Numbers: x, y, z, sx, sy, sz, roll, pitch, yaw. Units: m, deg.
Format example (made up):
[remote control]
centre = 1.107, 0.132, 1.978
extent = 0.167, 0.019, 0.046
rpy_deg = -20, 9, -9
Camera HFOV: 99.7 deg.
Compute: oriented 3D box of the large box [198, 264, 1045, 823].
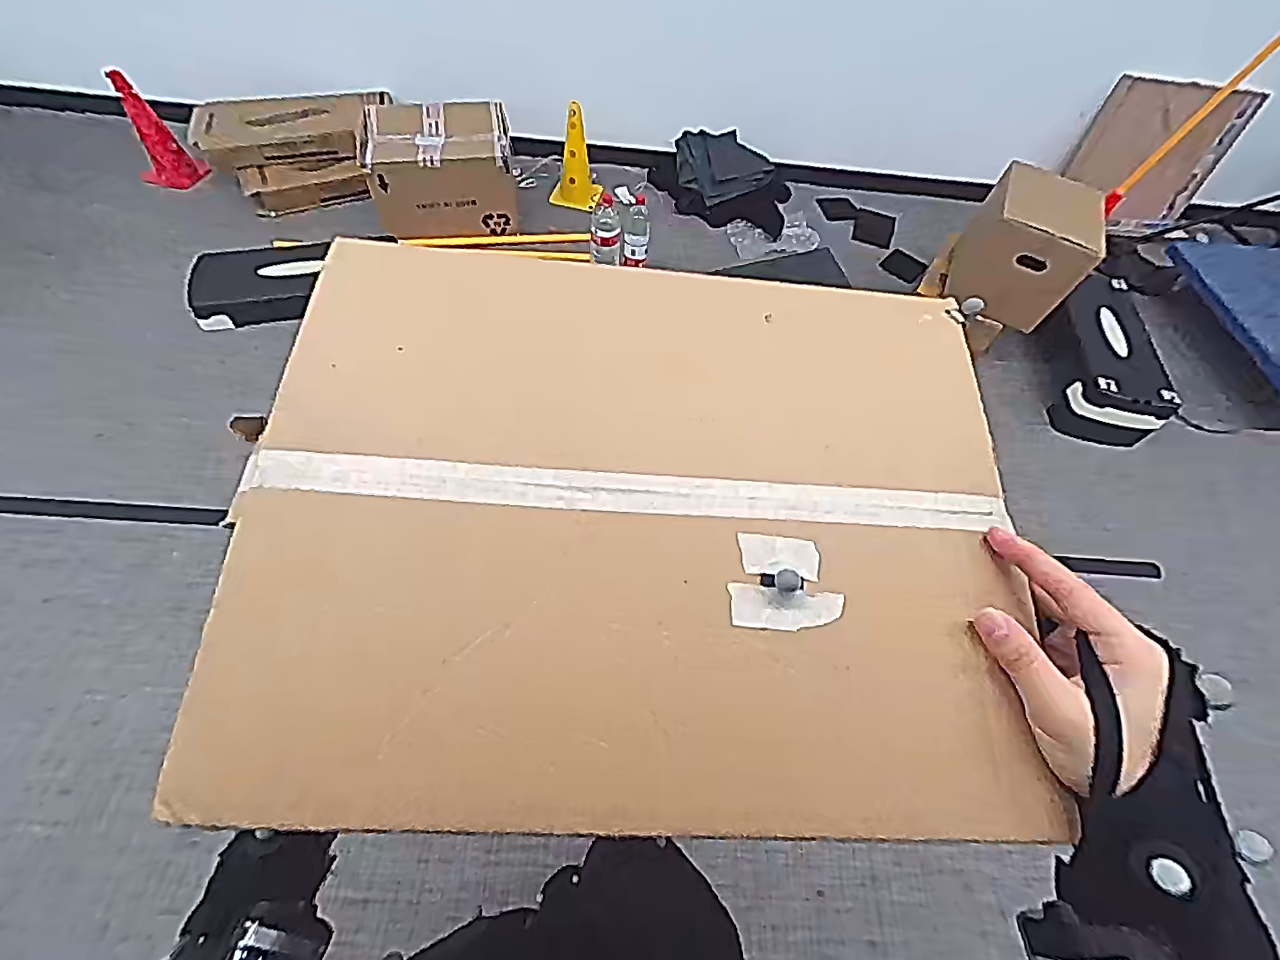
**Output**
[large box]
centre = -0.009, 0.069, 0.442
extent = 0.408, 0.320, 0.320
rpy_deg = 4, 68, -5
